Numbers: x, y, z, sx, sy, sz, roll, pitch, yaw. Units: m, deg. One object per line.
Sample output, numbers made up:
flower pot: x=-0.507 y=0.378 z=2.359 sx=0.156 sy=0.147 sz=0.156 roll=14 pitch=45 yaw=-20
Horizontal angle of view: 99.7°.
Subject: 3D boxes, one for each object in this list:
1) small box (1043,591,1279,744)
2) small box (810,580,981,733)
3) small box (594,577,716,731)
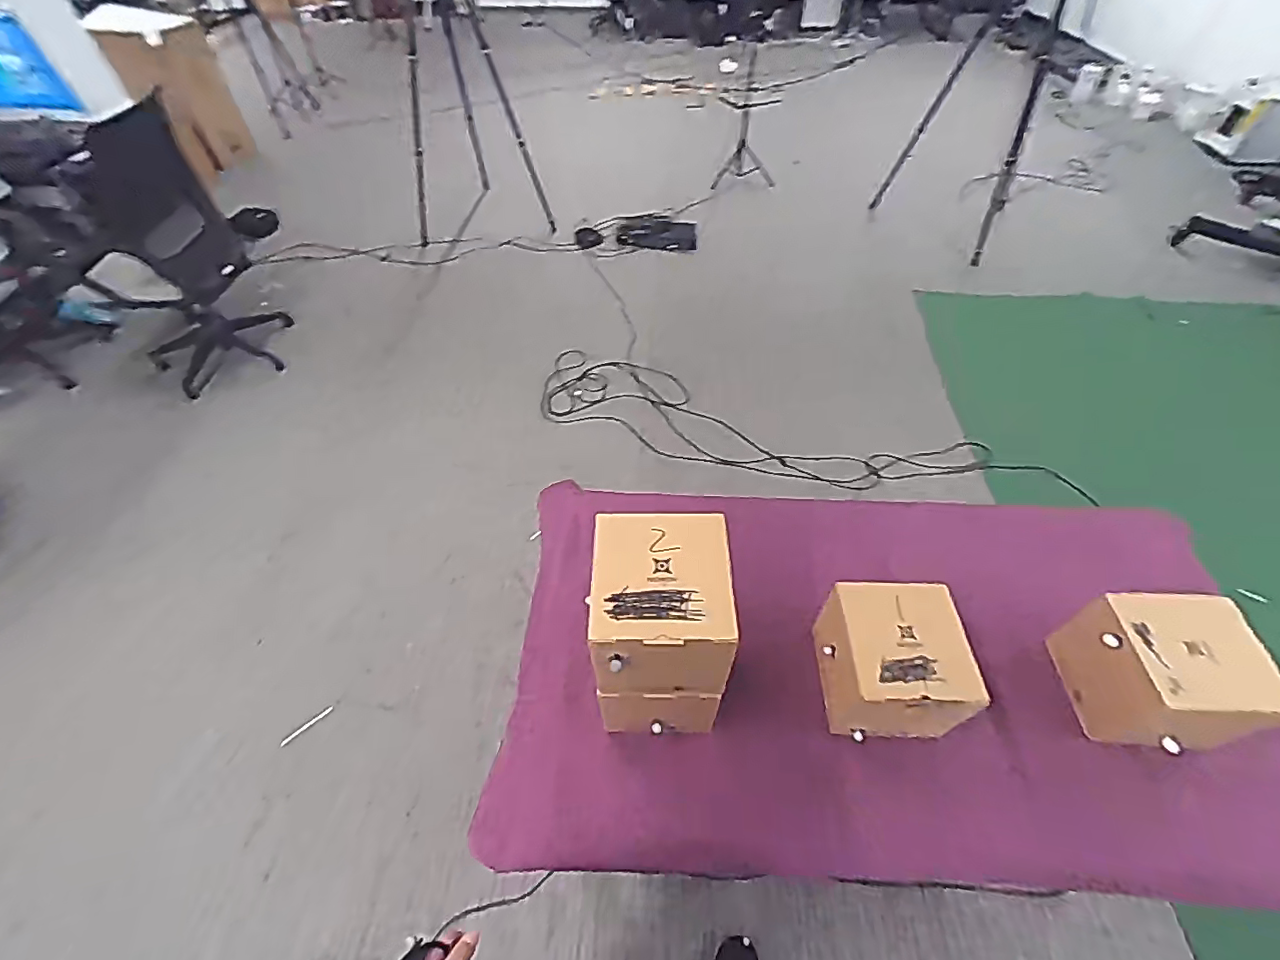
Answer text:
small box: x=0.759 y=0.282 z=0.802 sx=0.179 sy=0.176 sz=0.168 roll=2 pitch=50 yaw=3
small box: x=0.369 y=0.271 z=0.819 sx=0.168 sy=0.176 sz=0.179 roll=1 pitch=49 yaw=2
small box: x=0.022 y=0.267 z=0.828 sx=0.168 sy=0.176 sz=0.179 roll=0 pitch=50 yaw=1
